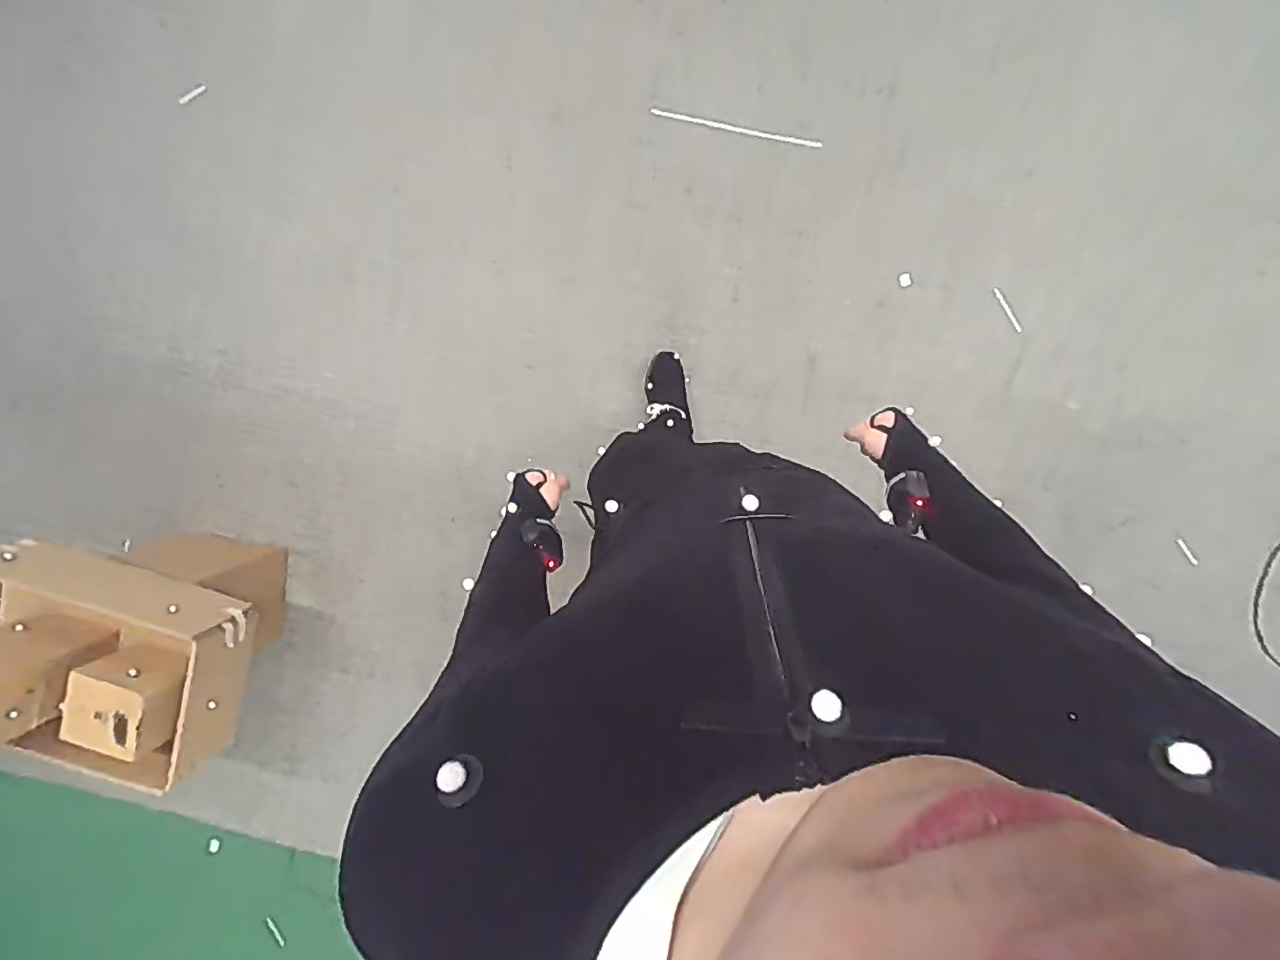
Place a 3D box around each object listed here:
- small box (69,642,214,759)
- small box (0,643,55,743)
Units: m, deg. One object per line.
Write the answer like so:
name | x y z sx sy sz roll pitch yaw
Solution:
small box | -1.138 0.498 1.247 0.179 0.176 0.168 17 97 3
small box | -1.370 0.447 1.096 0.179 0.176 0.168 16 97 -1
